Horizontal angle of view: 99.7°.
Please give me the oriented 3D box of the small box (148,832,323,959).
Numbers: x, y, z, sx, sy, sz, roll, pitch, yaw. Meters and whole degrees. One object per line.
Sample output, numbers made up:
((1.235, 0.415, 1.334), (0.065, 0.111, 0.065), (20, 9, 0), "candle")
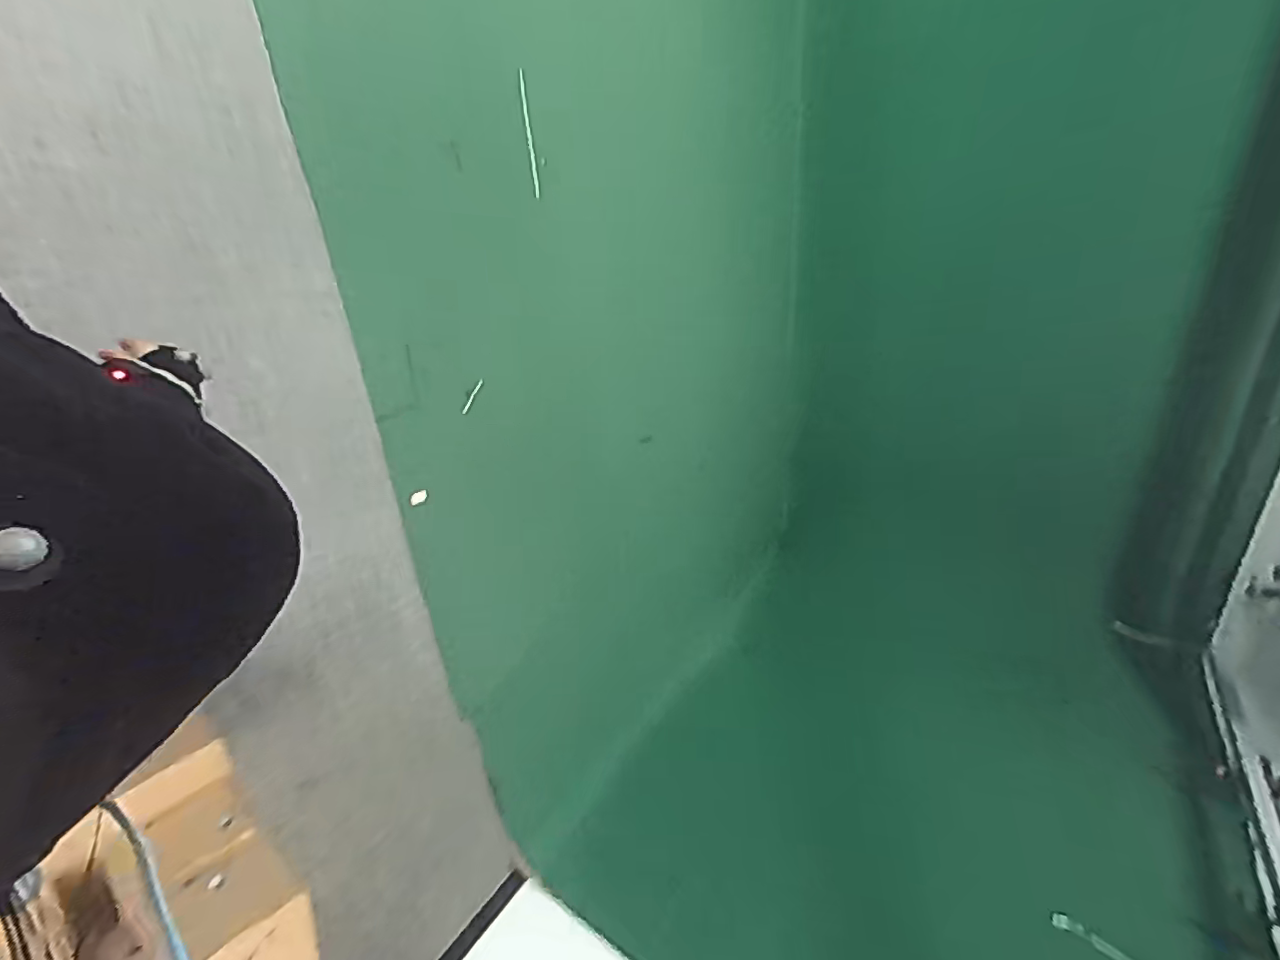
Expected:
((-0.605, 0.690, 0.815), (0.168, 0.176, 0.179), (-16, 112, -50), "small box")
